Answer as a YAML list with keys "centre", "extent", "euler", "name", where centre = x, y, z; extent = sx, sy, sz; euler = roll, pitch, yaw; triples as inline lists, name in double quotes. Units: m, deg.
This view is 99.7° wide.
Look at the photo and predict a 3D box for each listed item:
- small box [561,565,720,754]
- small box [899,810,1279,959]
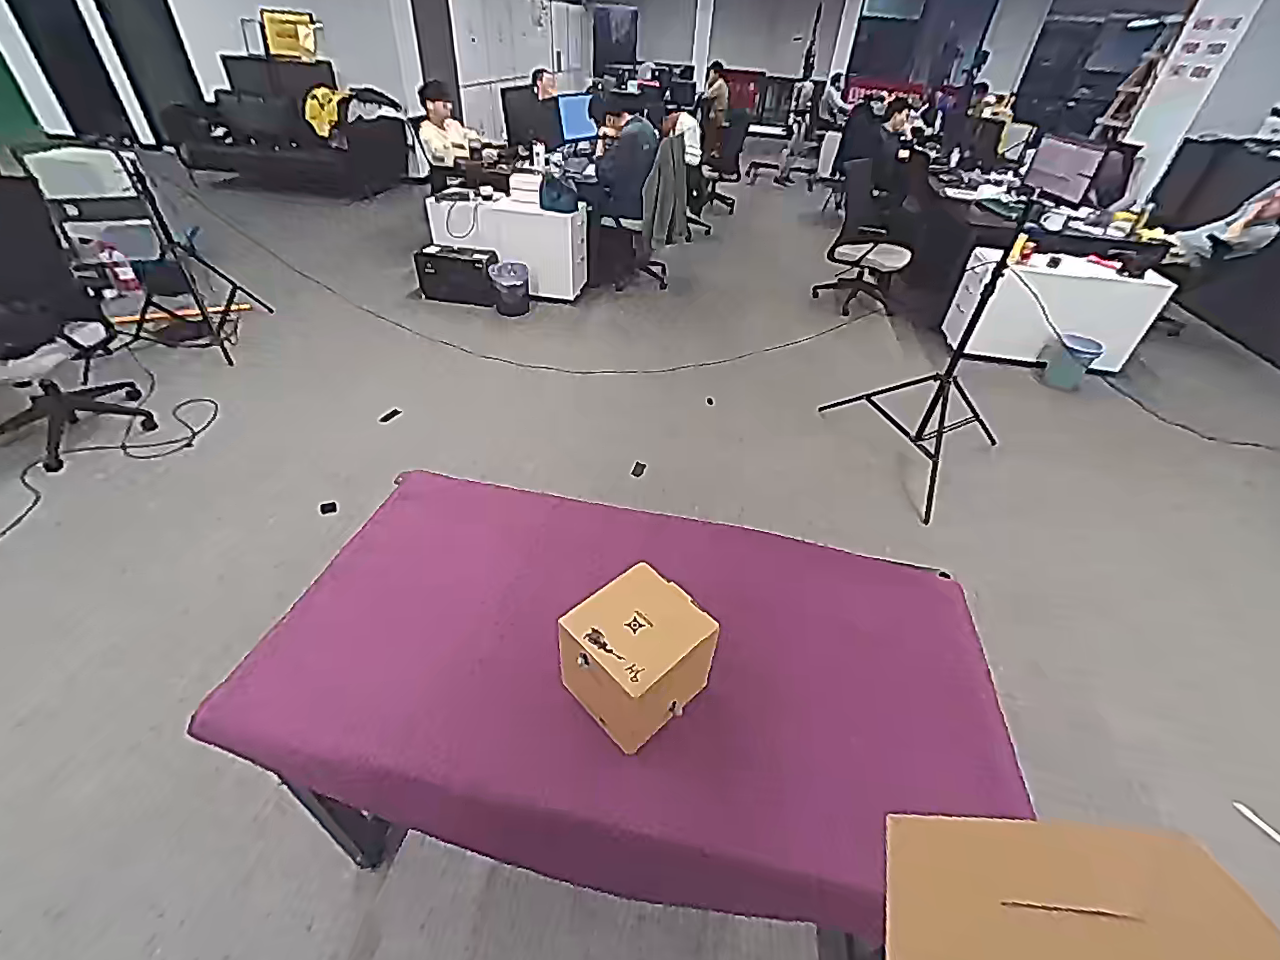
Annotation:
- centre: [-0.006, 0.269, 0.825]
  extent: [0.179, 0.176, 0.168]
  euler: [-29, 49, -35]
  name: "small box"
- centre: [0.223, 0.284, 0.251]
  extent: [0.168, 0.176, 0.179]
  euler: [-10, -8, 25]
  name: "small box"
